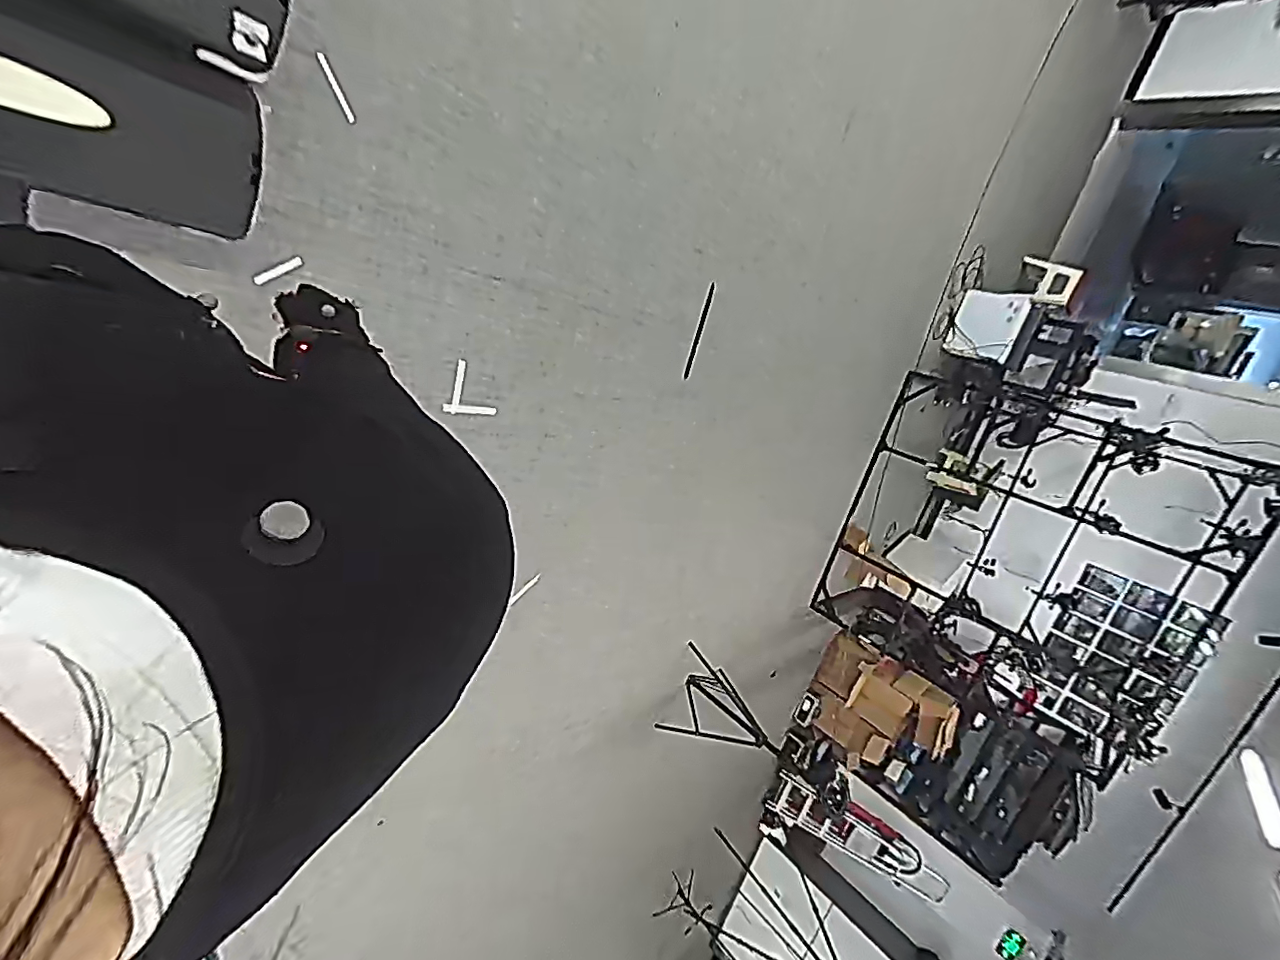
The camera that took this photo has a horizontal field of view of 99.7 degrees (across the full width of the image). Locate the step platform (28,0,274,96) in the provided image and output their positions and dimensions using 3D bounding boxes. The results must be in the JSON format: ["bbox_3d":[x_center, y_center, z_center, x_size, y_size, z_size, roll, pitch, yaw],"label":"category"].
[{"bbox_3d":[-0.892,-0.820,0.710,0.684,0.204,0.286,-2,114,-48],"label":"step platform"}]
